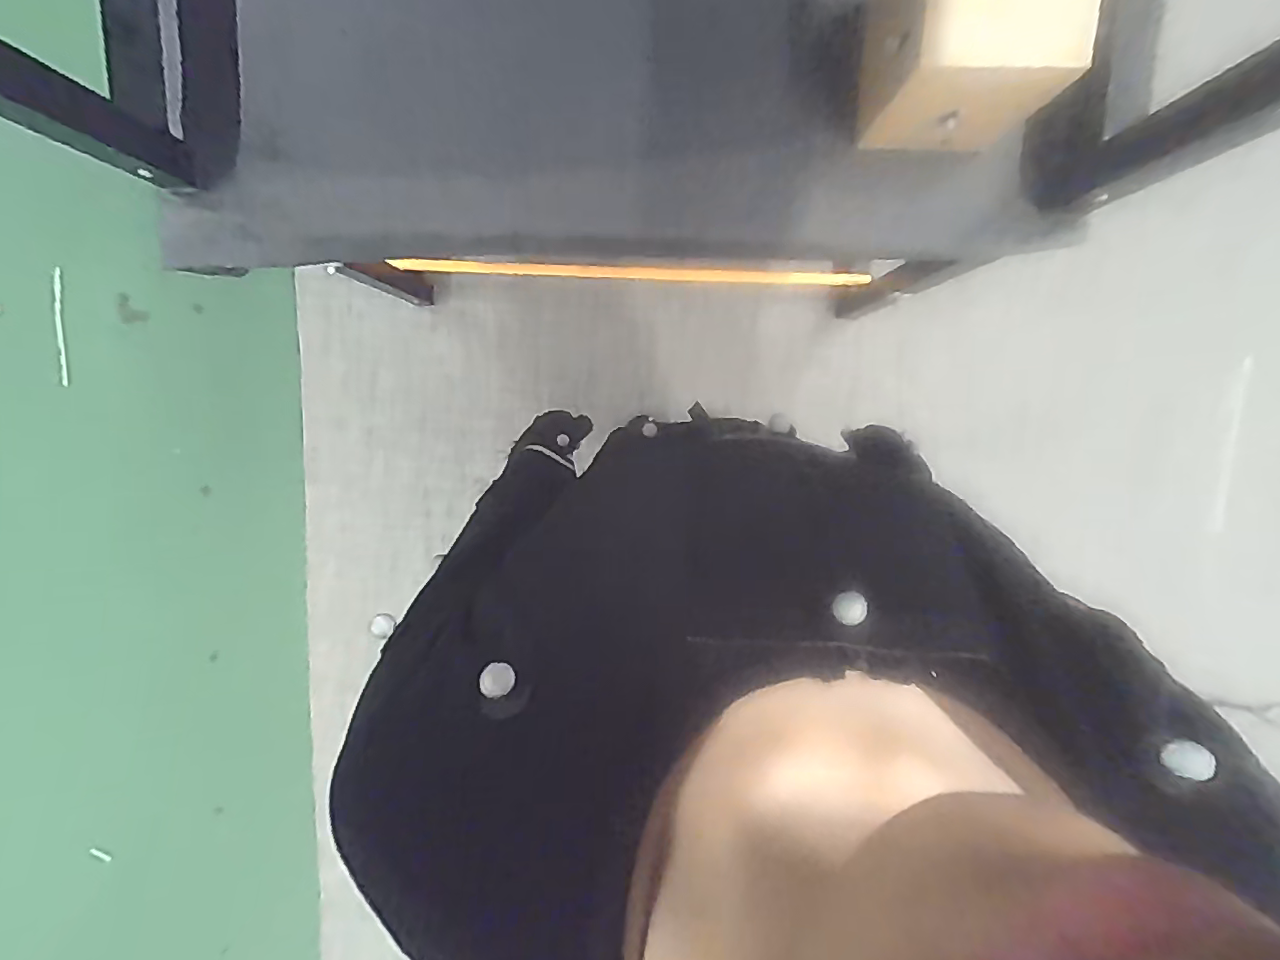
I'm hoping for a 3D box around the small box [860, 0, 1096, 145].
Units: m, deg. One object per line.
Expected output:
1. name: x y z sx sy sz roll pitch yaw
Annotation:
1. small box: 0.357 -0.497 0.594 0.168 0.176 0.179 2 97 1
